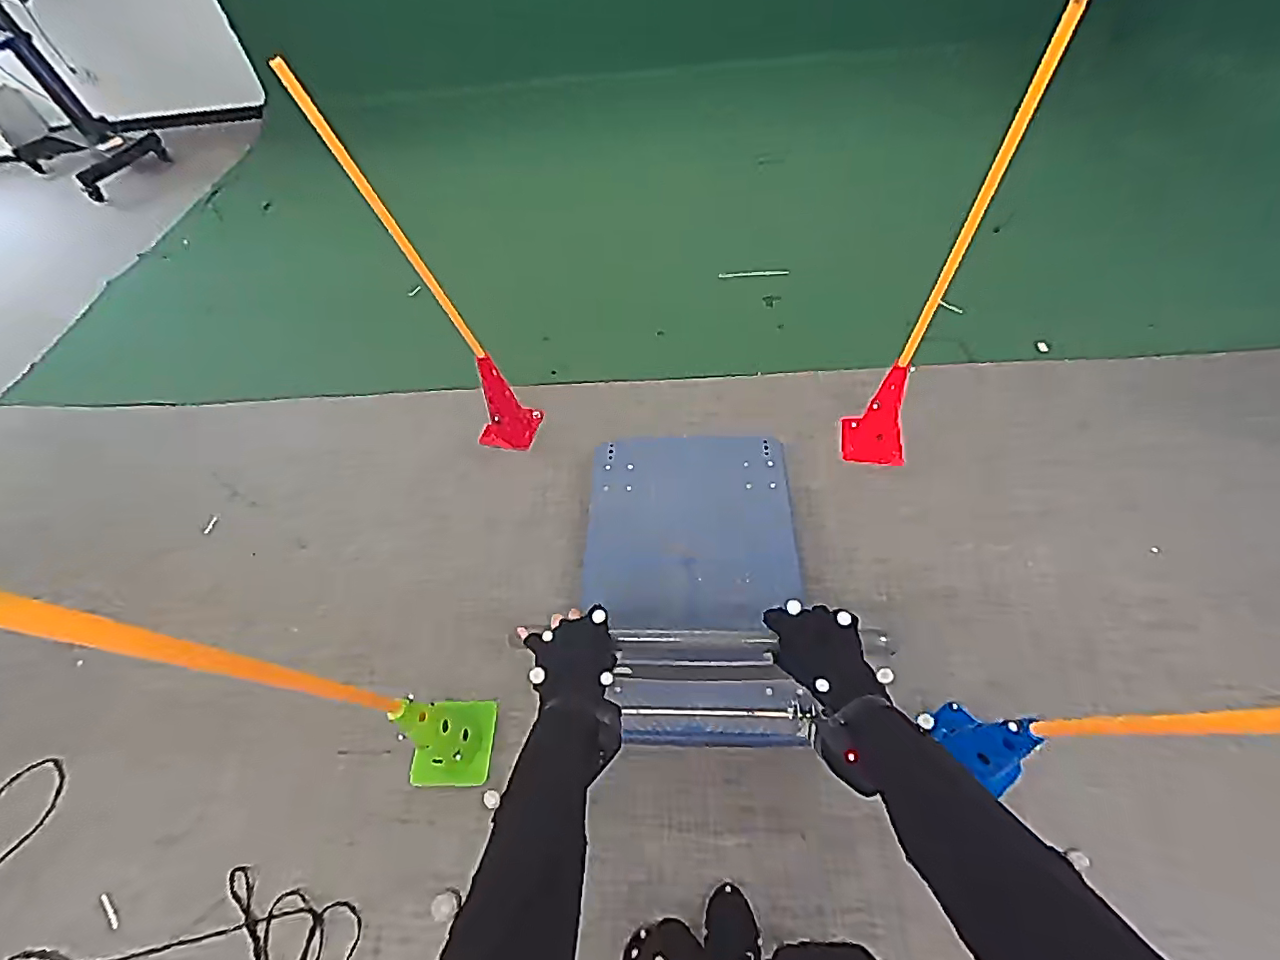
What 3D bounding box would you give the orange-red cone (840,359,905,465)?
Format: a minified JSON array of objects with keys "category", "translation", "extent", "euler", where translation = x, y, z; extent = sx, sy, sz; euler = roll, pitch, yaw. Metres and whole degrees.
[{"category":"orange-red cone","translation":[0.776,-0.236,1.720],"extent":[0.198,0.360,0.199],"euler":[7,56,12]}]
